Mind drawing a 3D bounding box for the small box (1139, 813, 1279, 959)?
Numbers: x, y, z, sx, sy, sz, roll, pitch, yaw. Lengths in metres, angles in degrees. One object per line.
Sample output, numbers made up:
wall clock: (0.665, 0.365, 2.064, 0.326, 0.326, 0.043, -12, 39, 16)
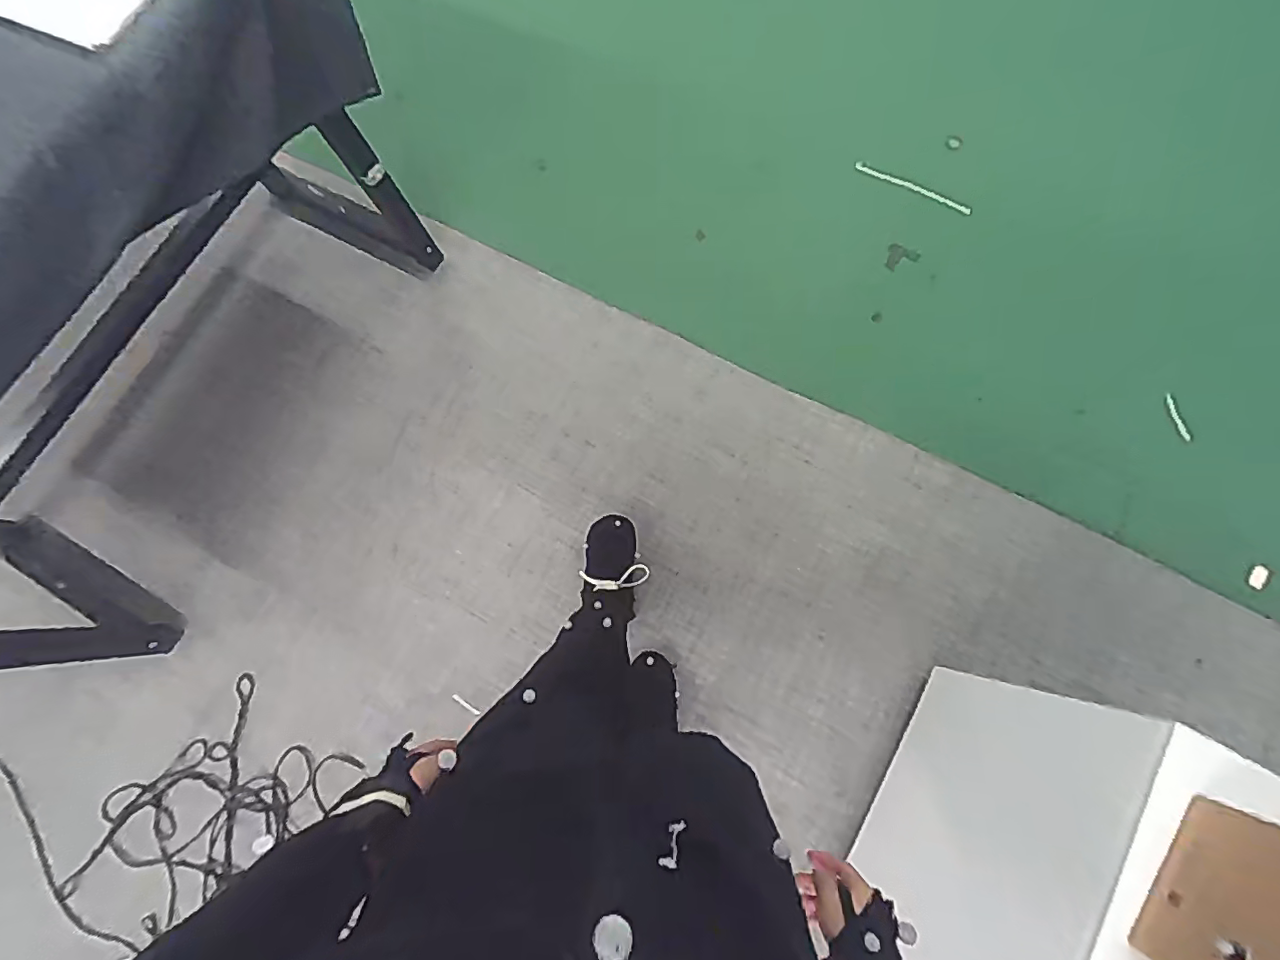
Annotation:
small box: (0.589, 0.417, 0.449, 0.179, 0.176, 0.168, 33, 82, 9)
